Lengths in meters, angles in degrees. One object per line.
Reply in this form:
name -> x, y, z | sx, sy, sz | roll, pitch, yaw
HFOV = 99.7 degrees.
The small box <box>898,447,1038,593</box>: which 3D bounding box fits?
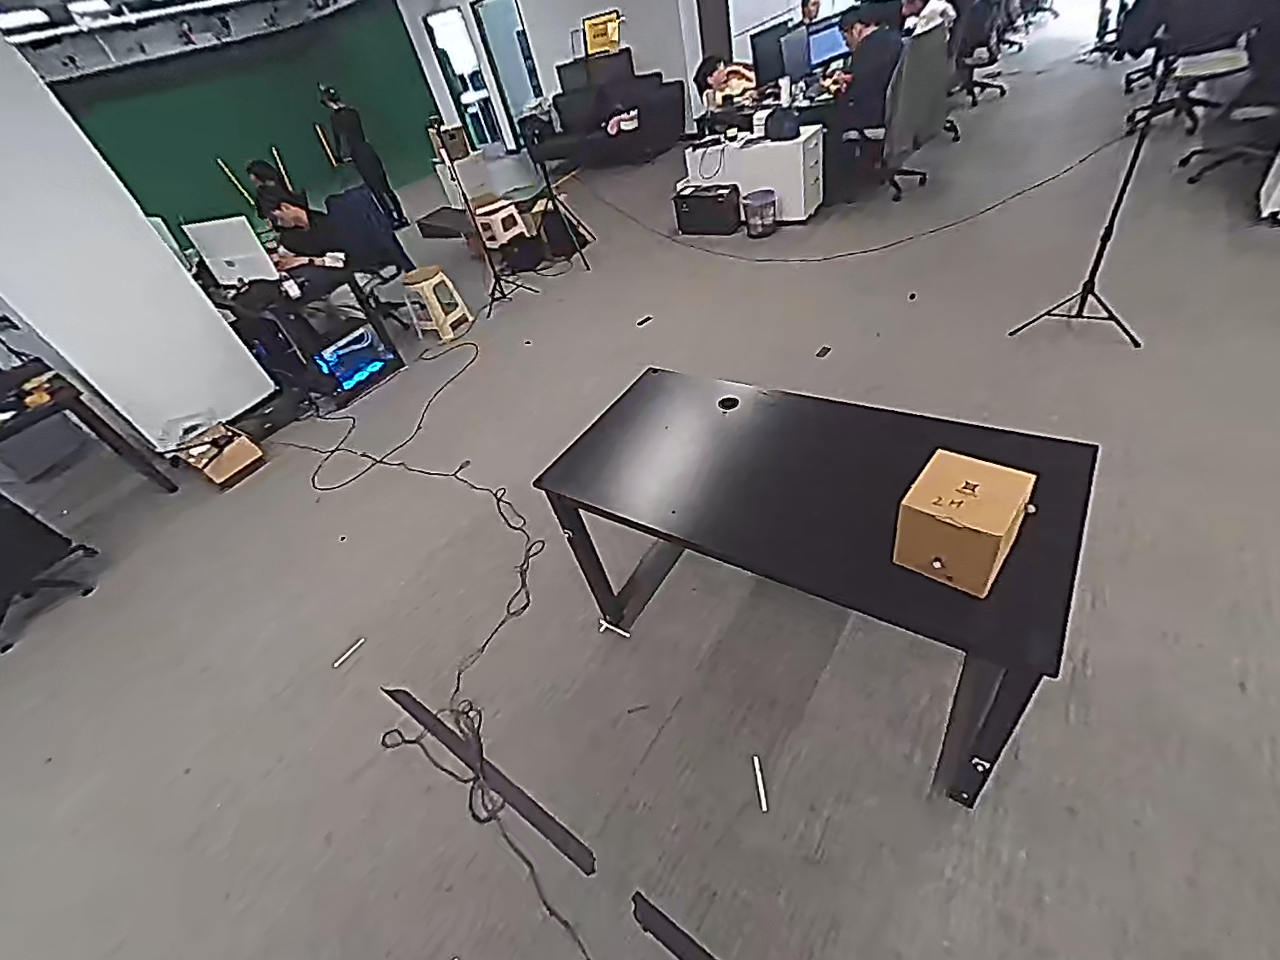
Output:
small box -> 0.598, 0.073, 1.005 | 0.168, 0.176, 0.179 | 24, 55, 38
